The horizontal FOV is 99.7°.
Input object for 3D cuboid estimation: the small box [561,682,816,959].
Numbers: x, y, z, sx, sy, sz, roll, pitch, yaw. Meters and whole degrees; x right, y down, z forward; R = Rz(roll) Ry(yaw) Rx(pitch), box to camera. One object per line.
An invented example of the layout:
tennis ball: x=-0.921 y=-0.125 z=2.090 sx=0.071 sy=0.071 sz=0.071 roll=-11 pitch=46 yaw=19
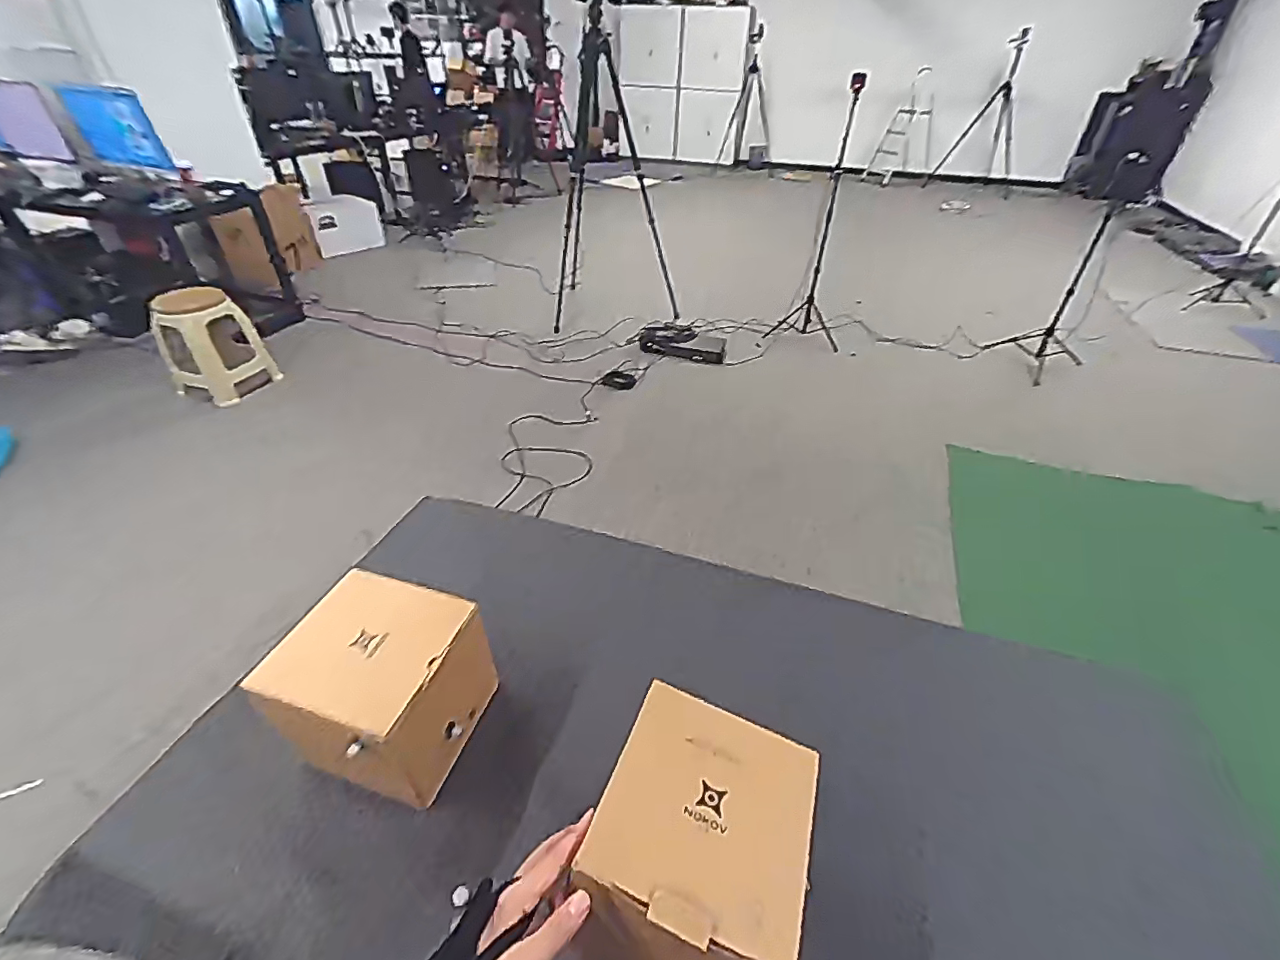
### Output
small box: x=0.040 y=0.326 z=0.479 sx=0.168 sy=0.176 sz=0.179 roll=21 pitch=35 yaw=11

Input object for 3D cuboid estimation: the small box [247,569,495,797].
small box: x=-0.293 y=0.236 z=0.632 sx=0.179 sy=0.176 sz=0.168 roll=12 pitch=40 yaw=12
